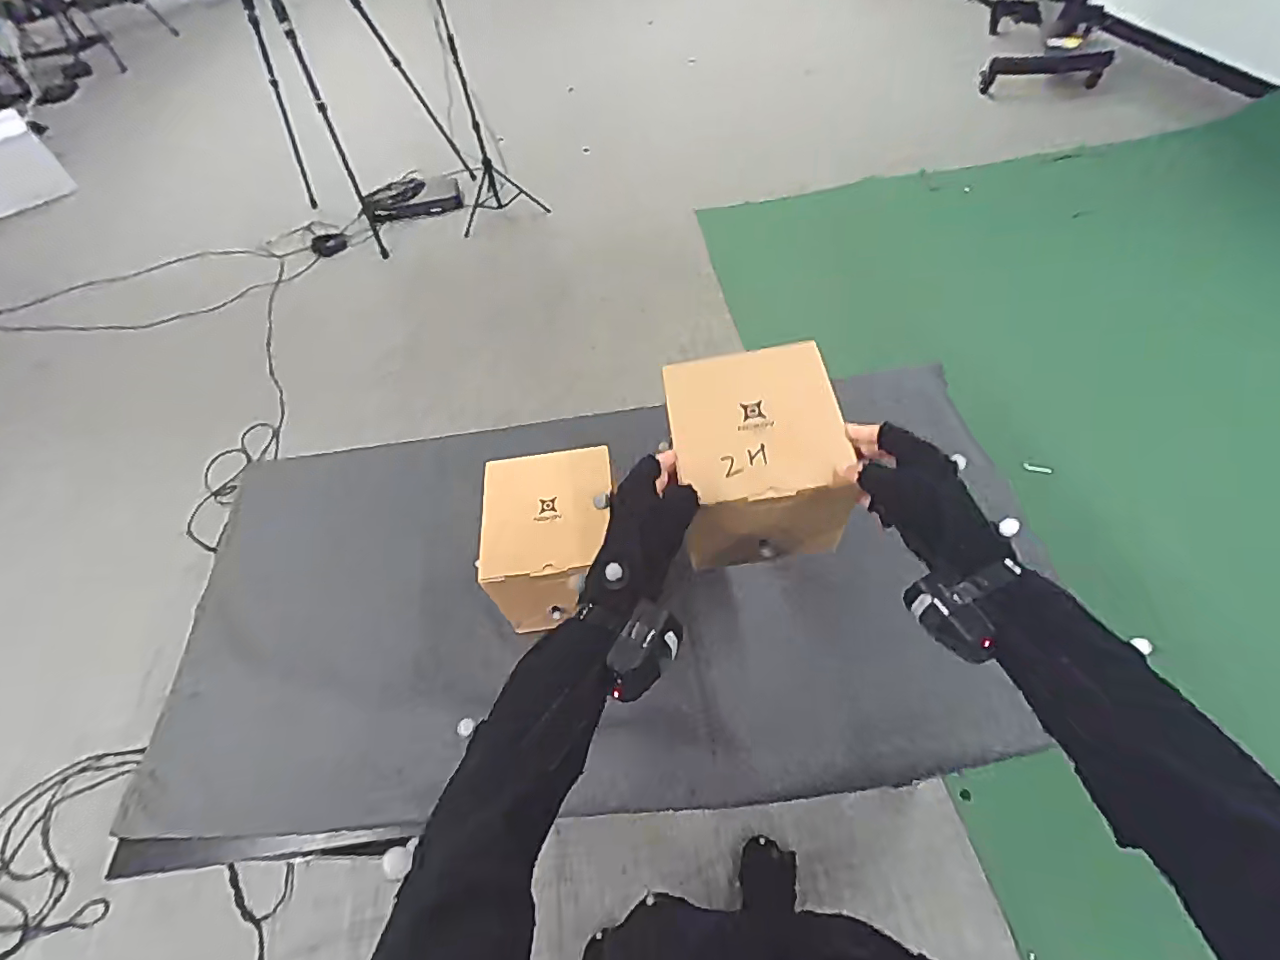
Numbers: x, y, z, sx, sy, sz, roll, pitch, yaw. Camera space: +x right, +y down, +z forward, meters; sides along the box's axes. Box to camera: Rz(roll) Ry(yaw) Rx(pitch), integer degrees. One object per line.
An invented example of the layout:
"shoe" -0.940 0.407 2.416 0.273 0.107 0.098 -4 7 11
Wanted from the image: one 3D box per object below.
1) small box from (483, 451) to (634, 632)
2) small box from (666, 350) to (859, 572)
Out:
"small box" -0.102 0.087 0.736 0.168 0.176 0.179 -8 55 1
"small box" 0.125 -0.014 0.608 0.168 0.176 0.179 -9 59 5
